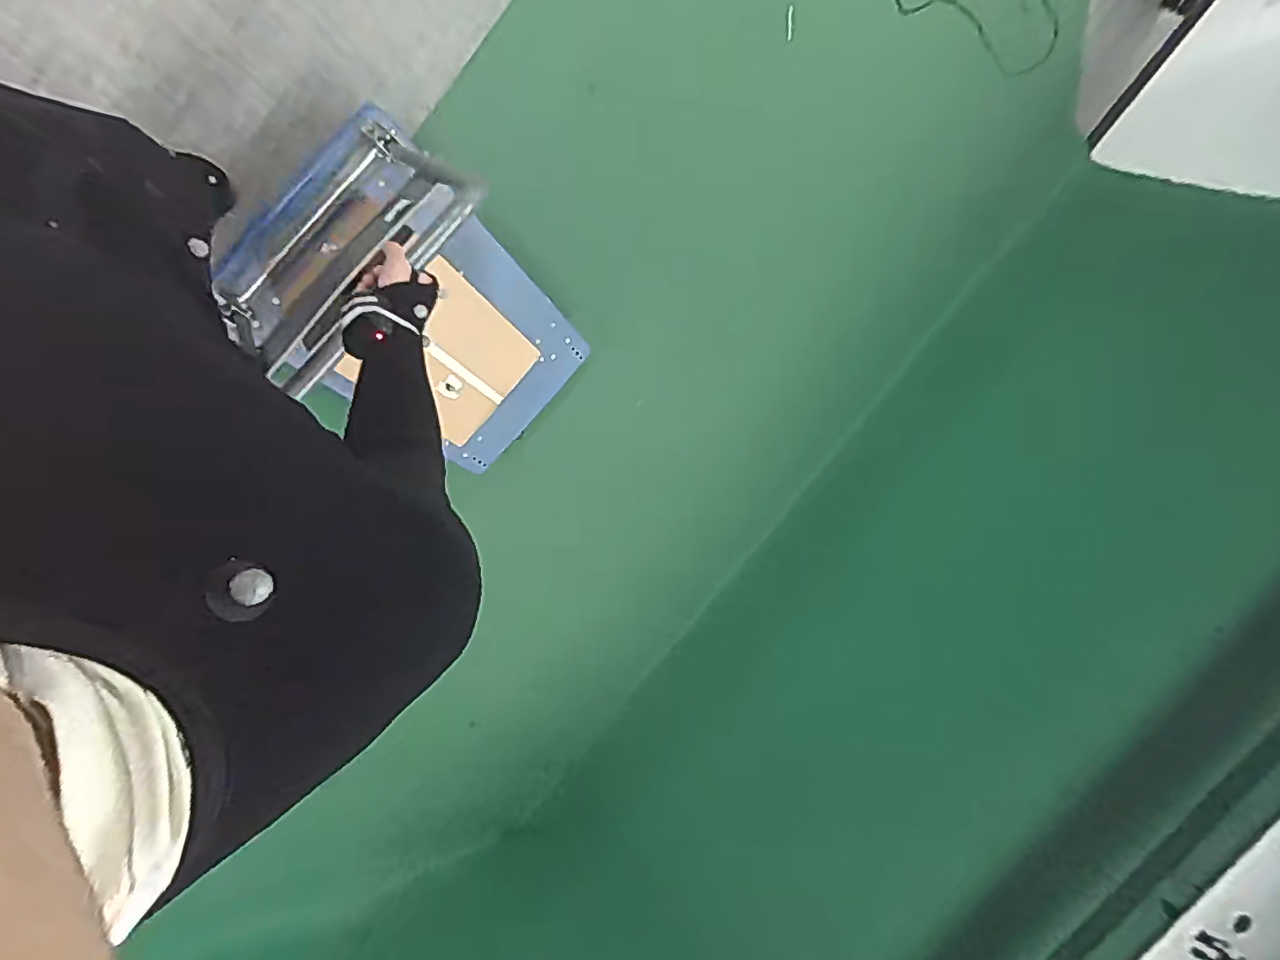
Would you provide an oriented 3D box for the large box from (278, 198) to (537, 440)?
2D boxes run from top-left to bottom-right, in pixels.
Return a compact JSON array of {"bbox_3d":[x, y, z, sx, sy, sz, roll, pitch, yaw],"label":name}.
[{"bbox_3d":[-0.533,-0.365,1.270,0.320,0.320,0.408,-48,144,1],"label":"large box"}]
